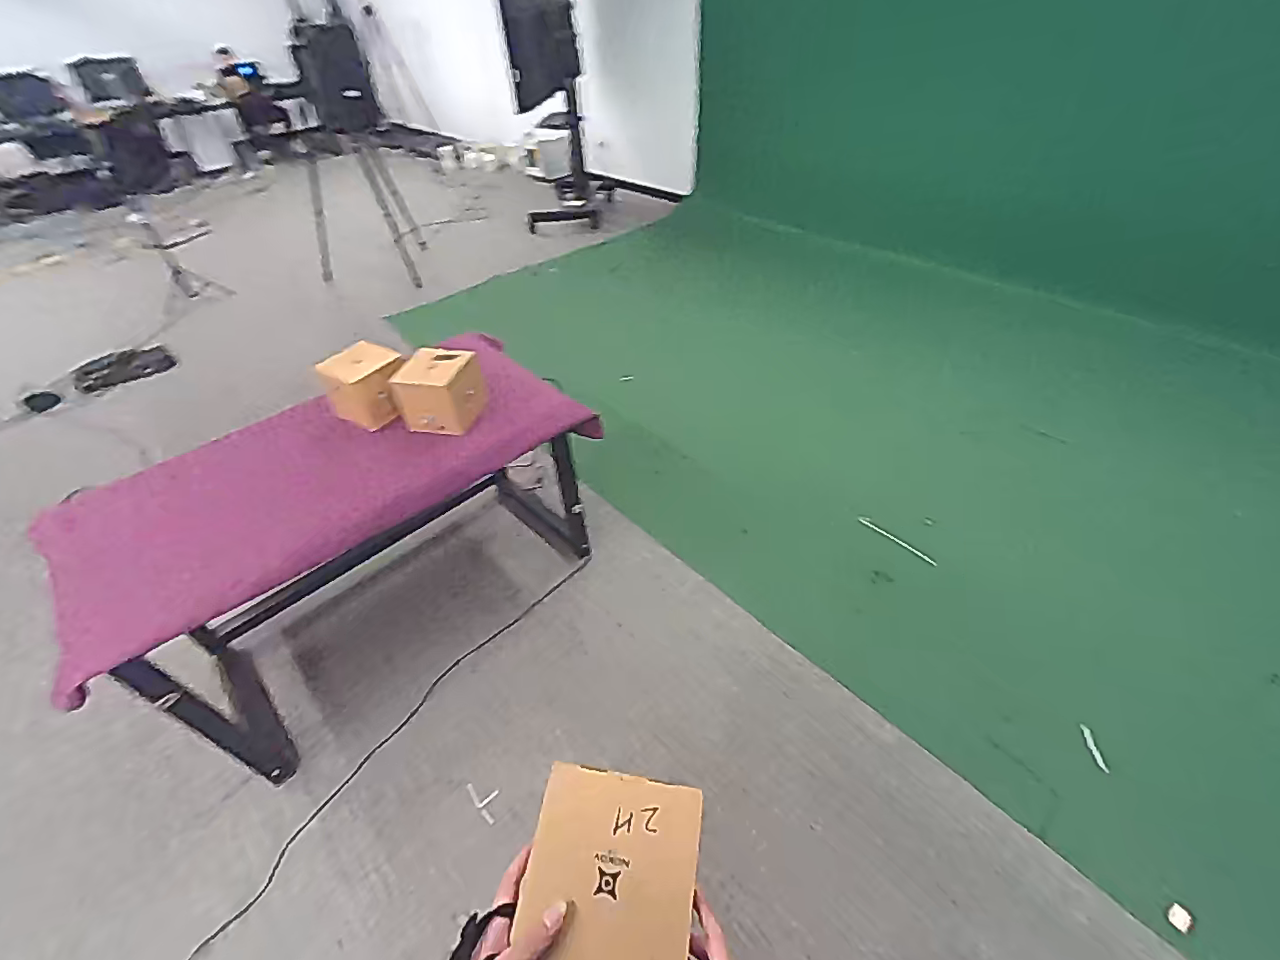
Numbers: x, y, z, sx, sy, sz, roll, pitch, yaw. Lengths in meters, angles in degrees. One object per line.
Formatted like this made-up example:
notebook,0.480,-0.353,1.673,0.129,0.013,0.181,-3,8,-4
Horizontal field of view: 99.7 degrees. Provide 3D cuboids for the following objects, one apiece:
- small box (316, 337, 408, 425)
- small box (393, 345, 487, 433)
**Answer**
small box,-0.772,-0.280,1.550,0.179,0.176,0.168,22,49,24
small box,-0.545,-0.254,1.506,0.168,0.176,0.179,7,46,12
